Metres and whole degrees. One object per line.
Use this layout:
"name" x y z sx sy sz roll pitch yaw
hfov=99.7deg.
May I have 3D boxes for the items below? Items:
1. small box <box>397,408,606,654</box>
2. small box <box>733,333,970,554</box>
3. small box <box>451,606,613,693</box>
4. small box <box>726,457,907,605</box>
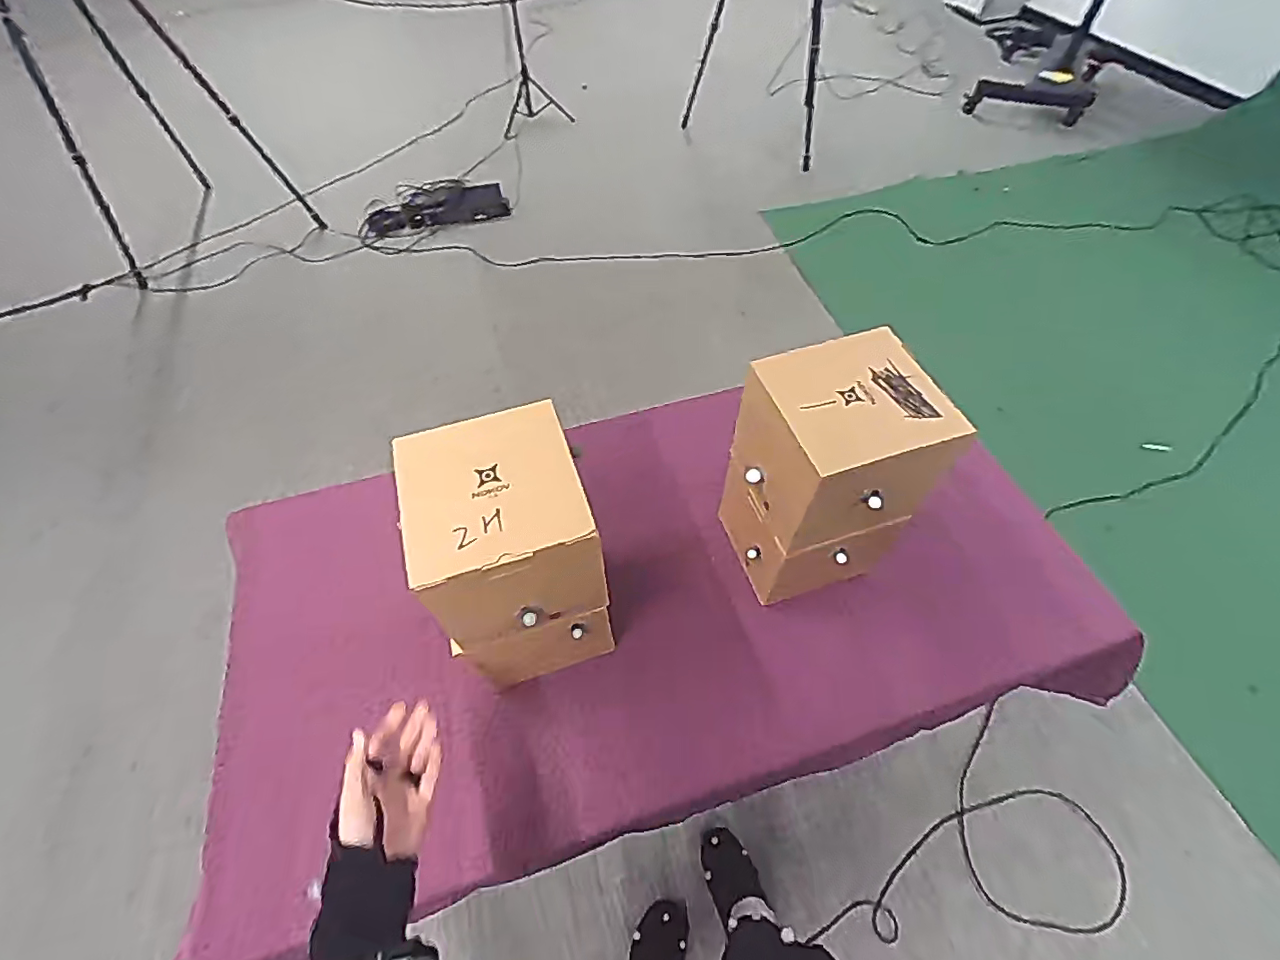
"small box" -0.141 0.057 0.578 0.168 0.176 0.179 -17 56 -10
"small box" 0.226 -0.039 0.634 0.179 0.176 0.168 -17 57 -9
"small box" -0.143 0.157 0.709 0.179 0.176 0.168 -17 56 -11
"small box" 0.231 0.056 0.768 0.179 0.176 0.168 -15 57 -9
